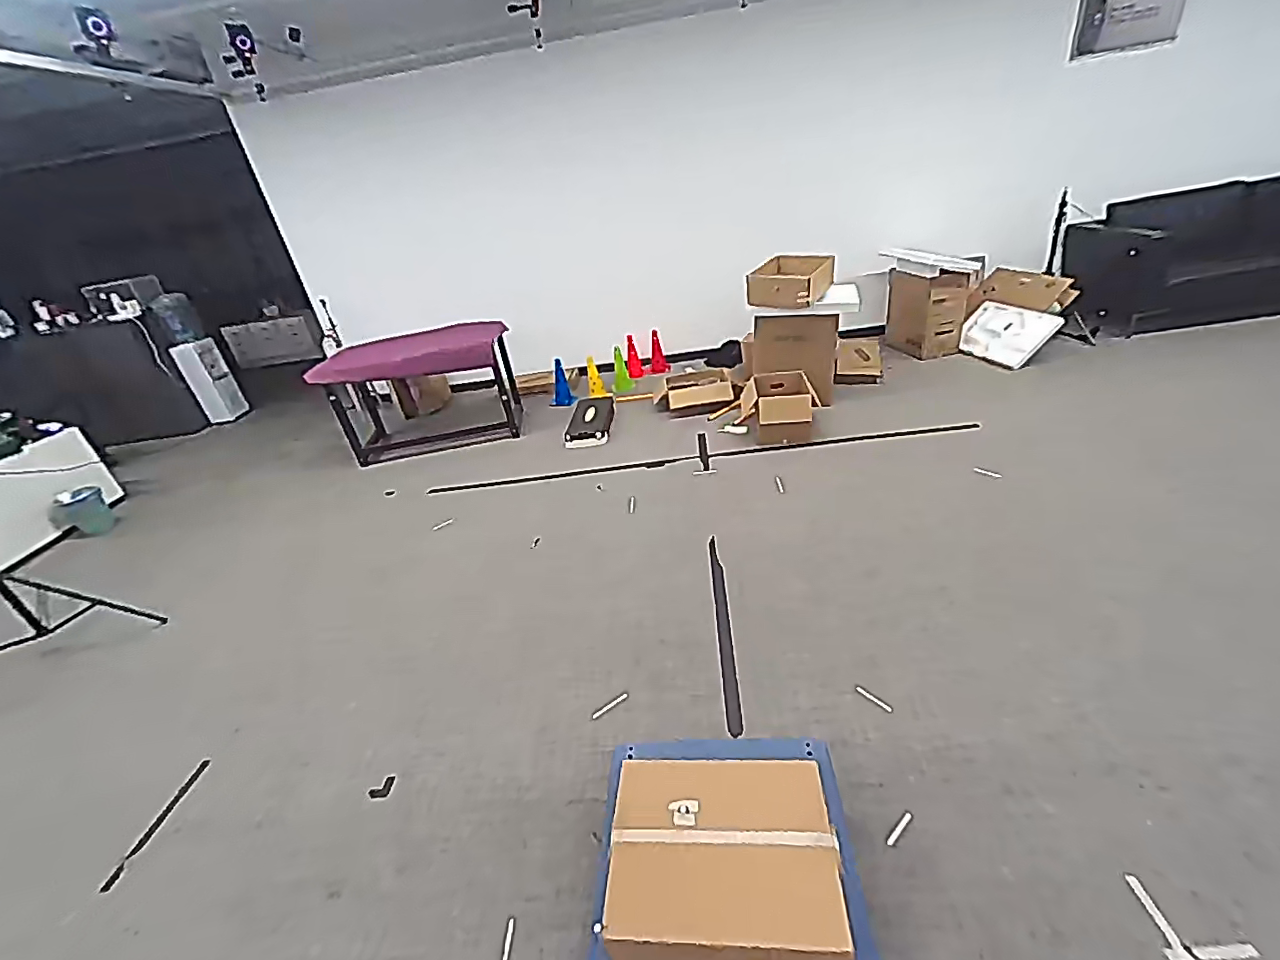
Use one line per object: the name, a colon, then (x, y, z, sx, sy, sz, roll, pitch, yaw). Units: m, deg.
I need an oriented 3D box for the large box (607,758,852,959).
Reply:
large box: (0.175, 0.798, 1.079, 0.408, 0.320, 0.320, -6, 29, 9)
